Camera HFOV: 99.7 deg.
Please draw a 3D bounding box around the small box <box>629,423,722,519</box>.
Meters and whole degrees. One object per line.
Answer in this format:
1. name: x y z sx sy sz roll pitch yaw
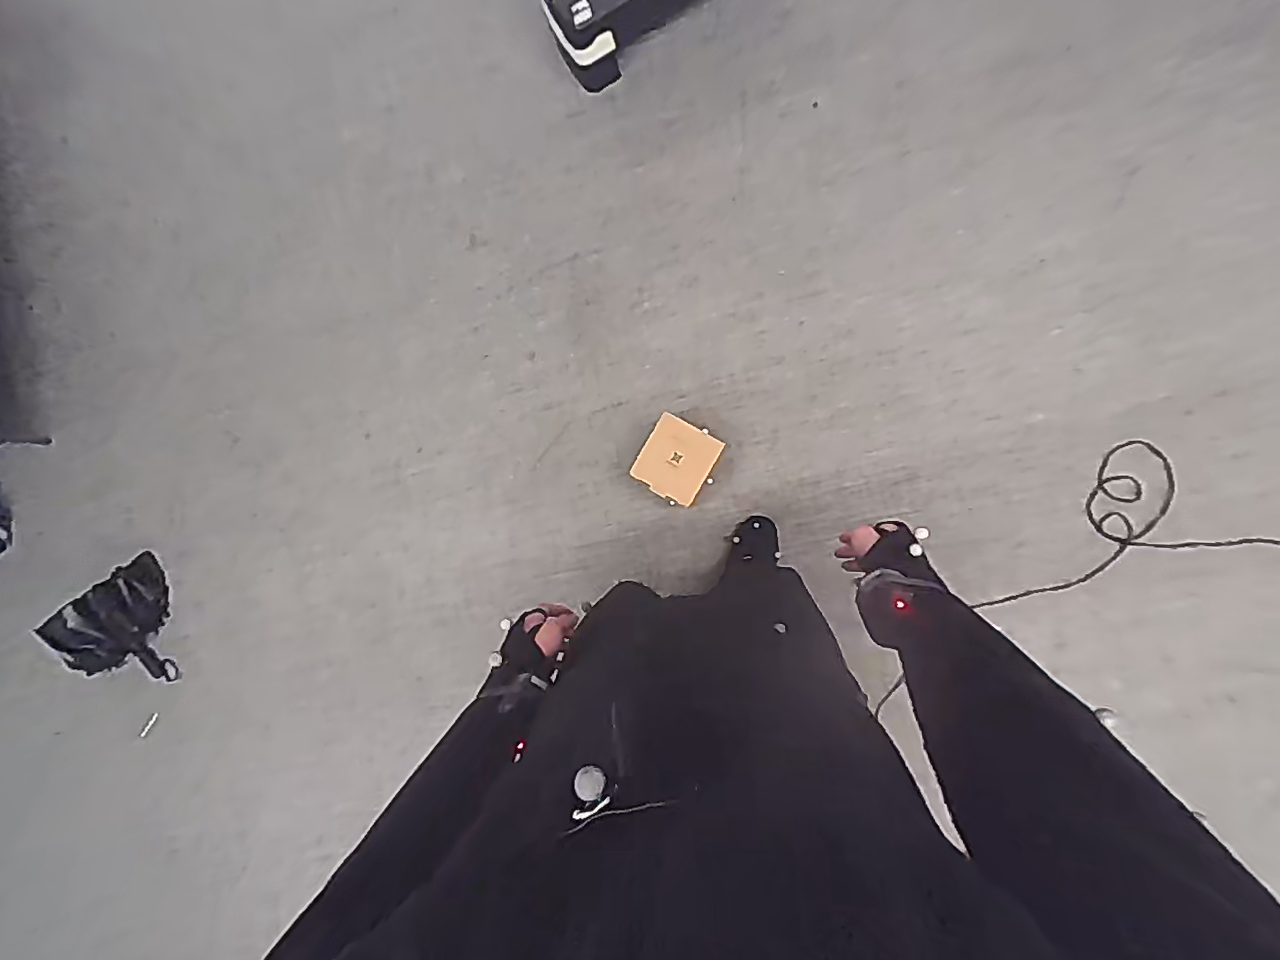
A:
1. small box: 0.097 -0.017 1.348 0.168 0.176 0.179 30 92 10
